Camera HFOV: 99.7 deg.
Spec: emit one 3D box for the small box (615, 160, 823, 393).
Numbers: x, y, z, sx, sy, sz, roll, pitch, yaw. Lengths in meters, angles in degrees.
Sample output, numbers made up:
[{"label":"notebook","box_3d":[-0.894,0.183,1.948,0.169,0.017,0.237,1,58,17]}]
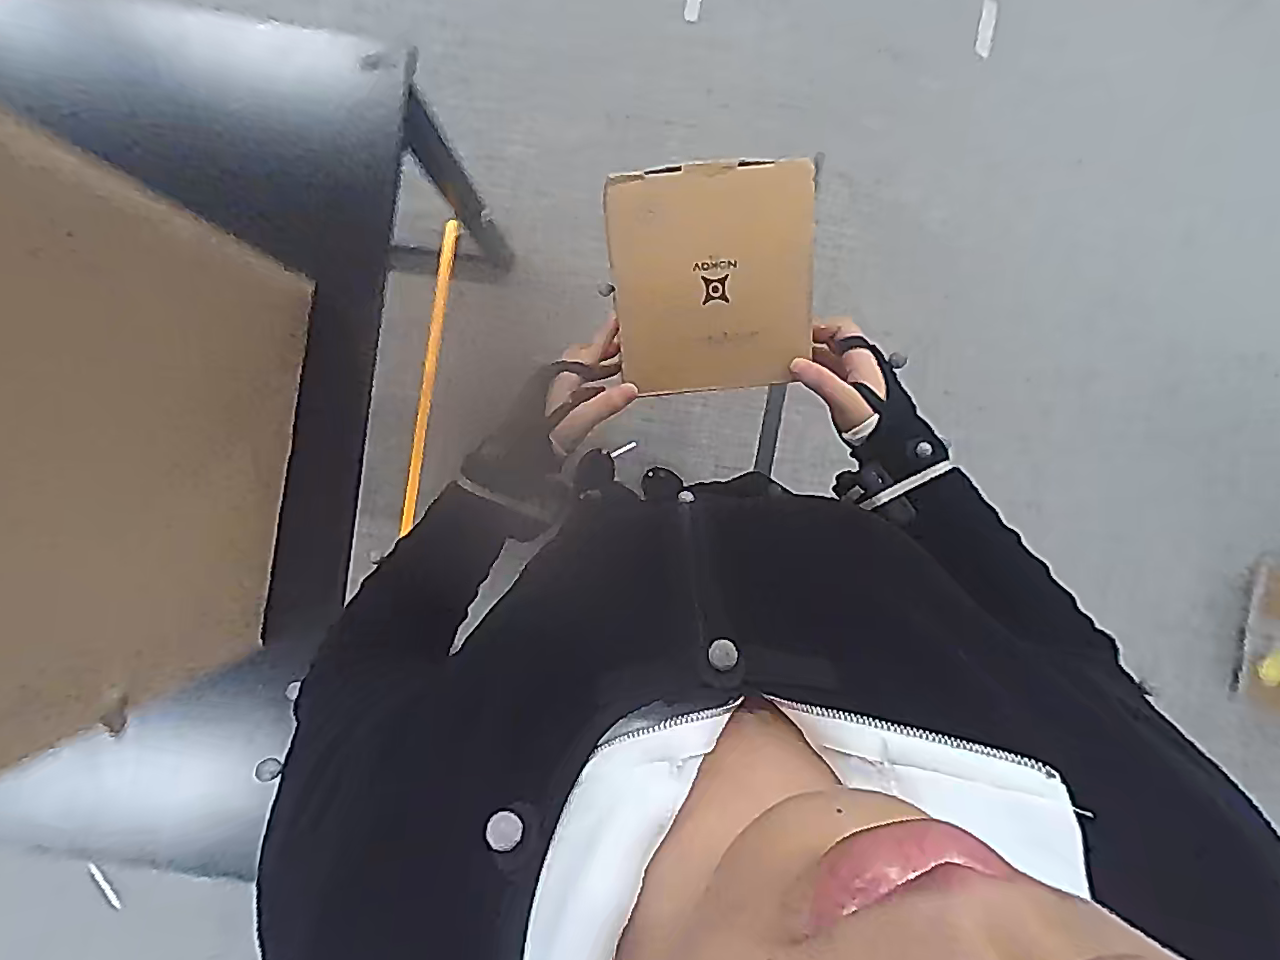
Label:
[{"label":"small box","box_3d":[0.063,-0.187,0.522,0.168,0.176,0.179,-5,109,-1]}]
